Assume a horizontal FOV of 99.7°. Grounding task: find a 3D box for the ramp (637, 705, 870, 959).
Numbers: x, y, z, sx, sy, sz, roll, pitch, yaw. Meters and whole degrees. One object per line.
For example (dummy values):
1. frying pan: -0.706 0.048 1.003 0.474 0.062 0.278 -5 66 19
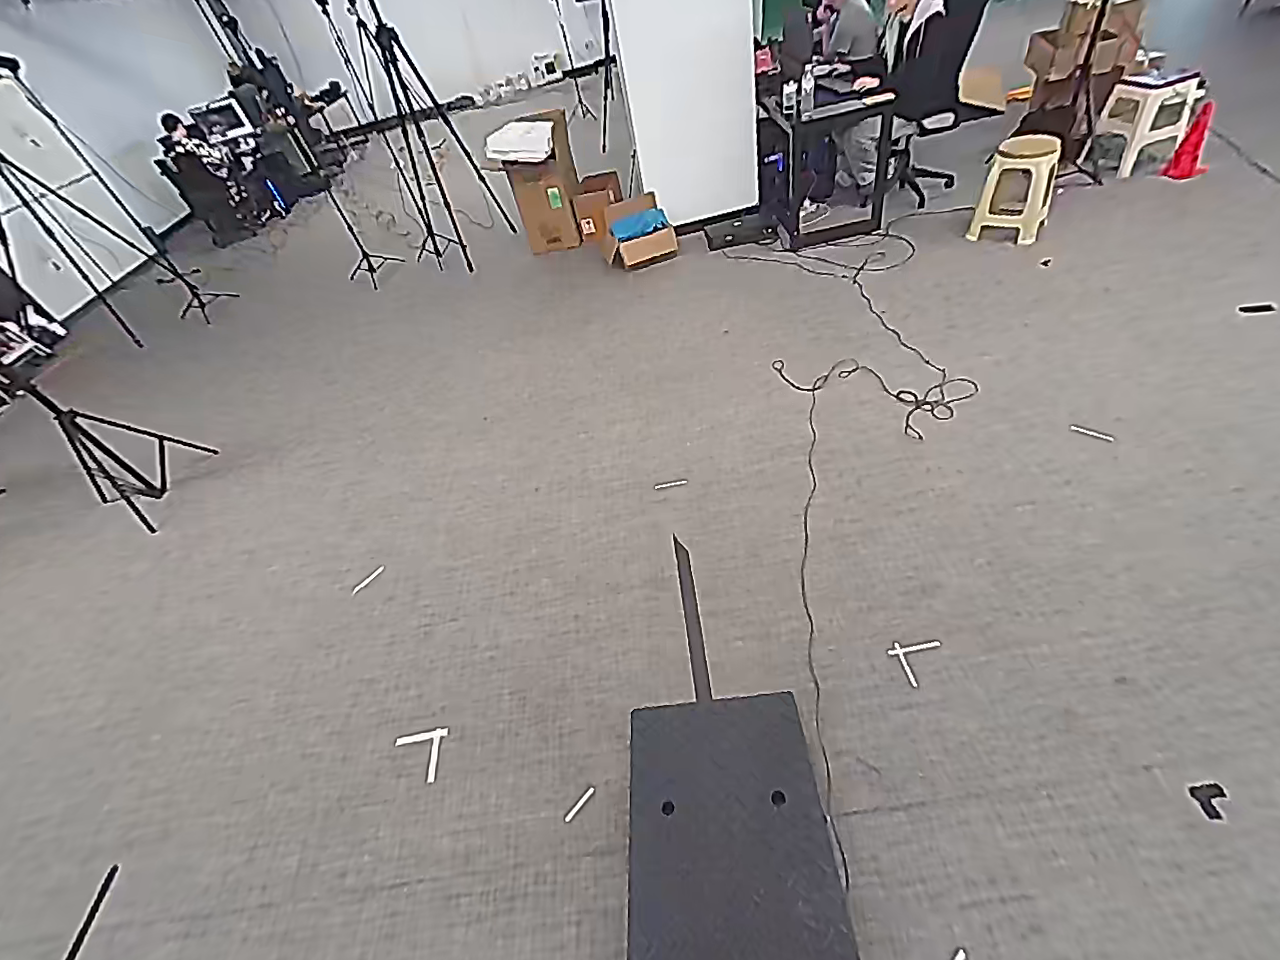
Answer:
1. ramp: 0.234 0.984 1.203 0.509 0.206 0.991 -13 42 6
